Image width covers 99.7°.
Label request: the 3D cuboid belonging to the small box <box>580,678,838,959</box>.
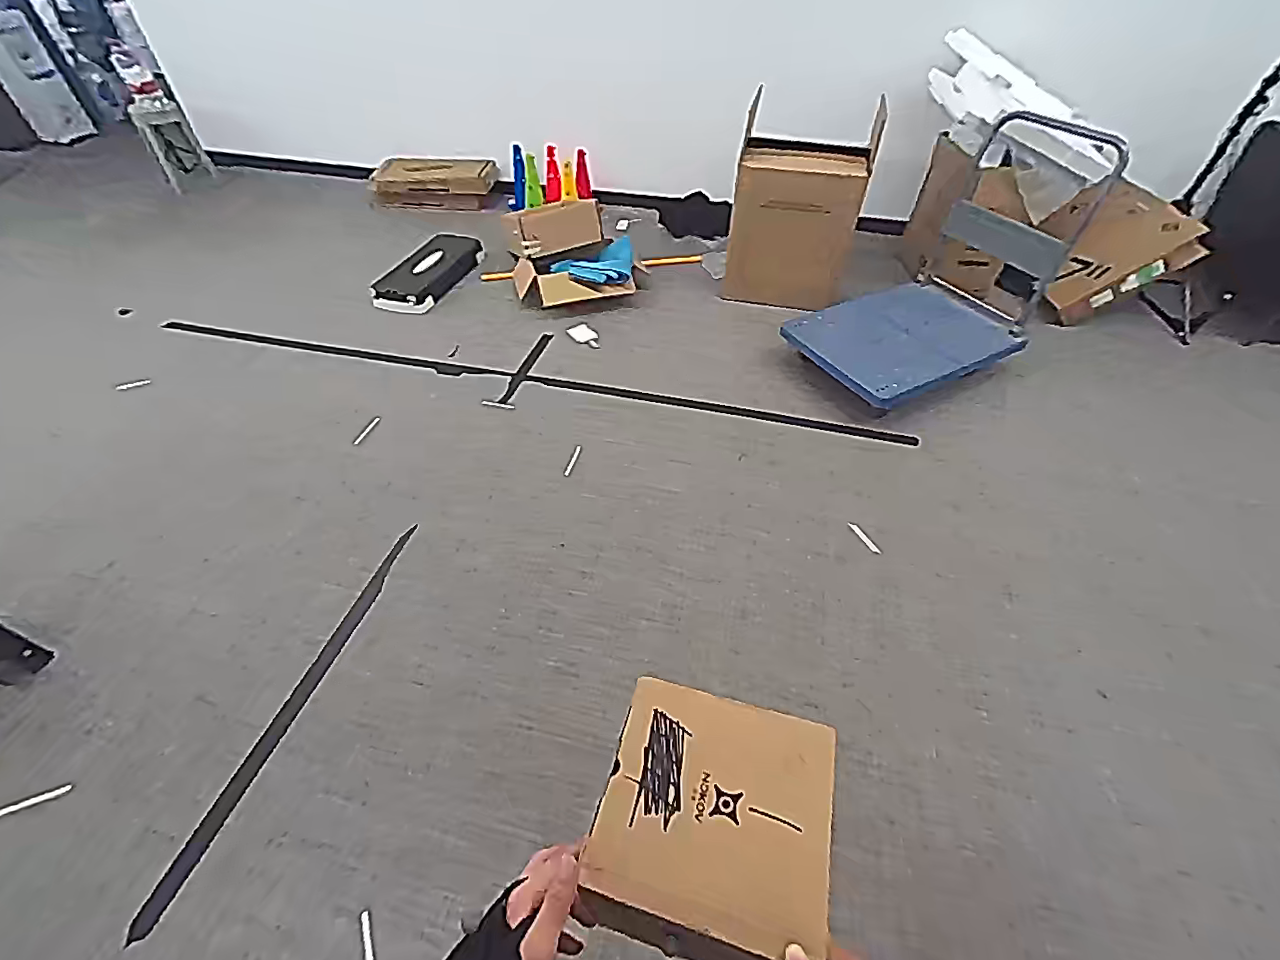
[{"bbox_3d":[0.064,0.307,0.474,0.179,0.176,0.168,10,45,13],"label":"small box"}]
